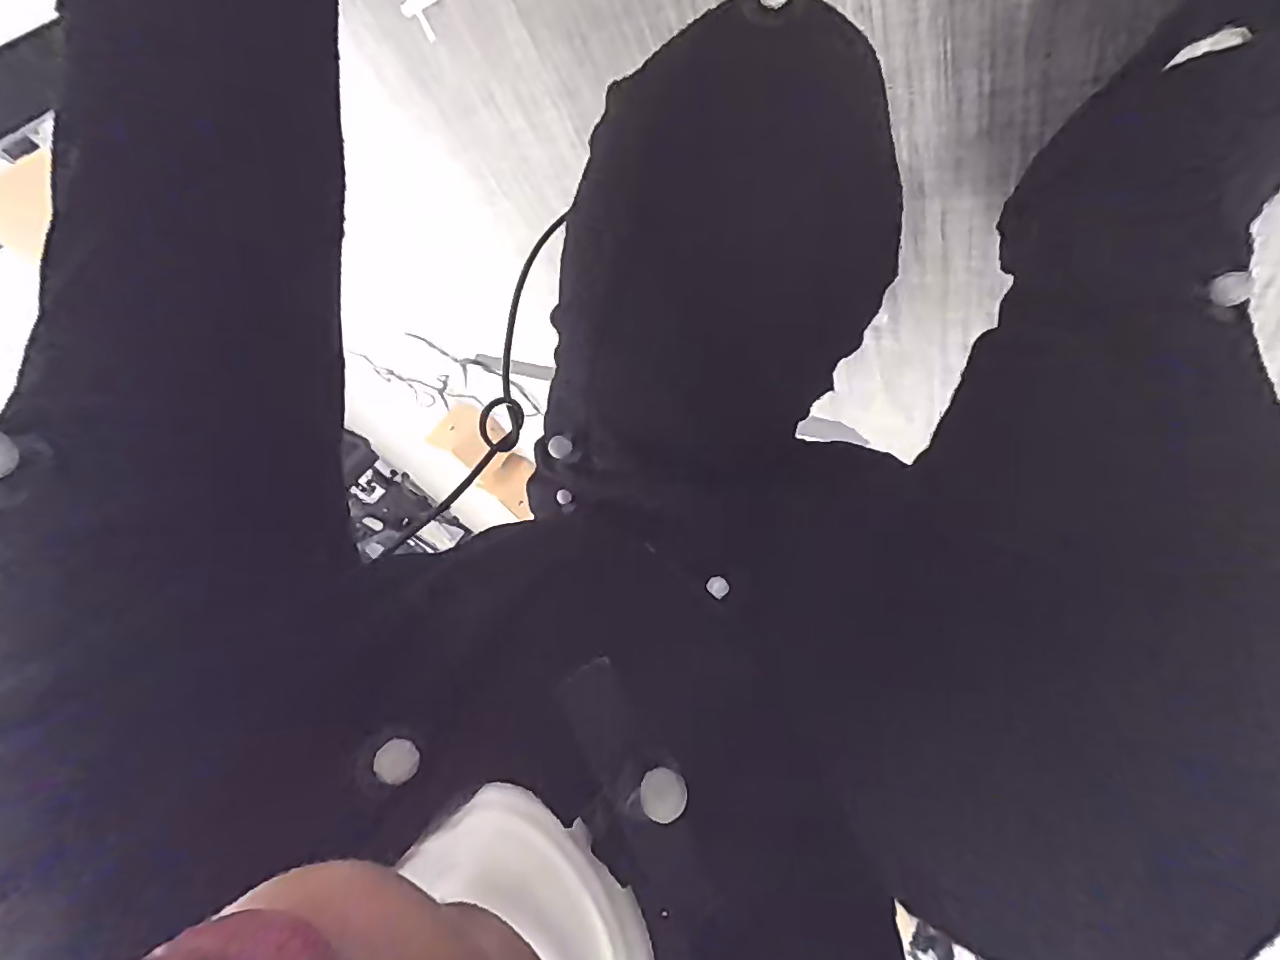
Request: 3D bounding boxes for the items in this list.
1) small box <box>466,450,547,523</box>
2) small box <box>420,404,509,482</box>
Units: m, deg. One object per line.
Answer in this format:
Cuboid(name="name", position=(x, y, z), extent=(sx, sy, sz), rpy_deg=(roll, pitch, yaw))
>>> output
Cuboid(name="small box", position=(-0.458, 0.018, 1.878), extent=(0.168, 0.176, 0.179), rpy_deg=(18, 154, 38))
Cuboid(name="small box", position=(-0.553, -0.122, 1.719), extent=(0.179, 0.176, 0.168), rpy_deg=(17, 153, 39))
